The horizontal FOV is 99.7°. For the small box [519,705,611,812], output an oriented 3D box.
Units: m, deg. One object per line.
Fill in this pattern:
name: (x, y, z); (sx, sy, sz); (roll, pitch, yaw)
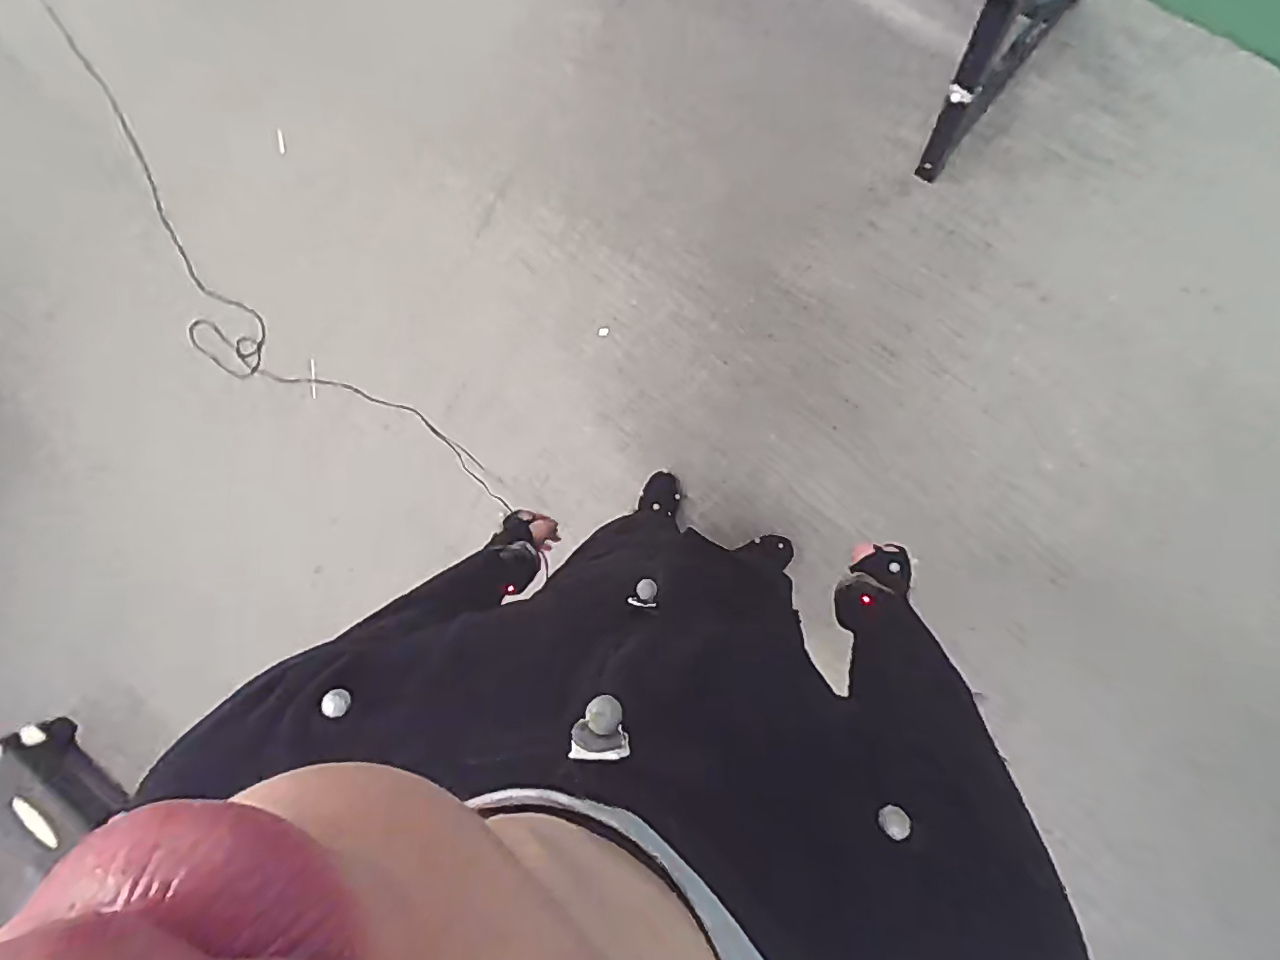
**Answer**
small box: (-0.206, 0.783, 1.540); (0.168, 0.176, 0.179); (36, 95, 11)
